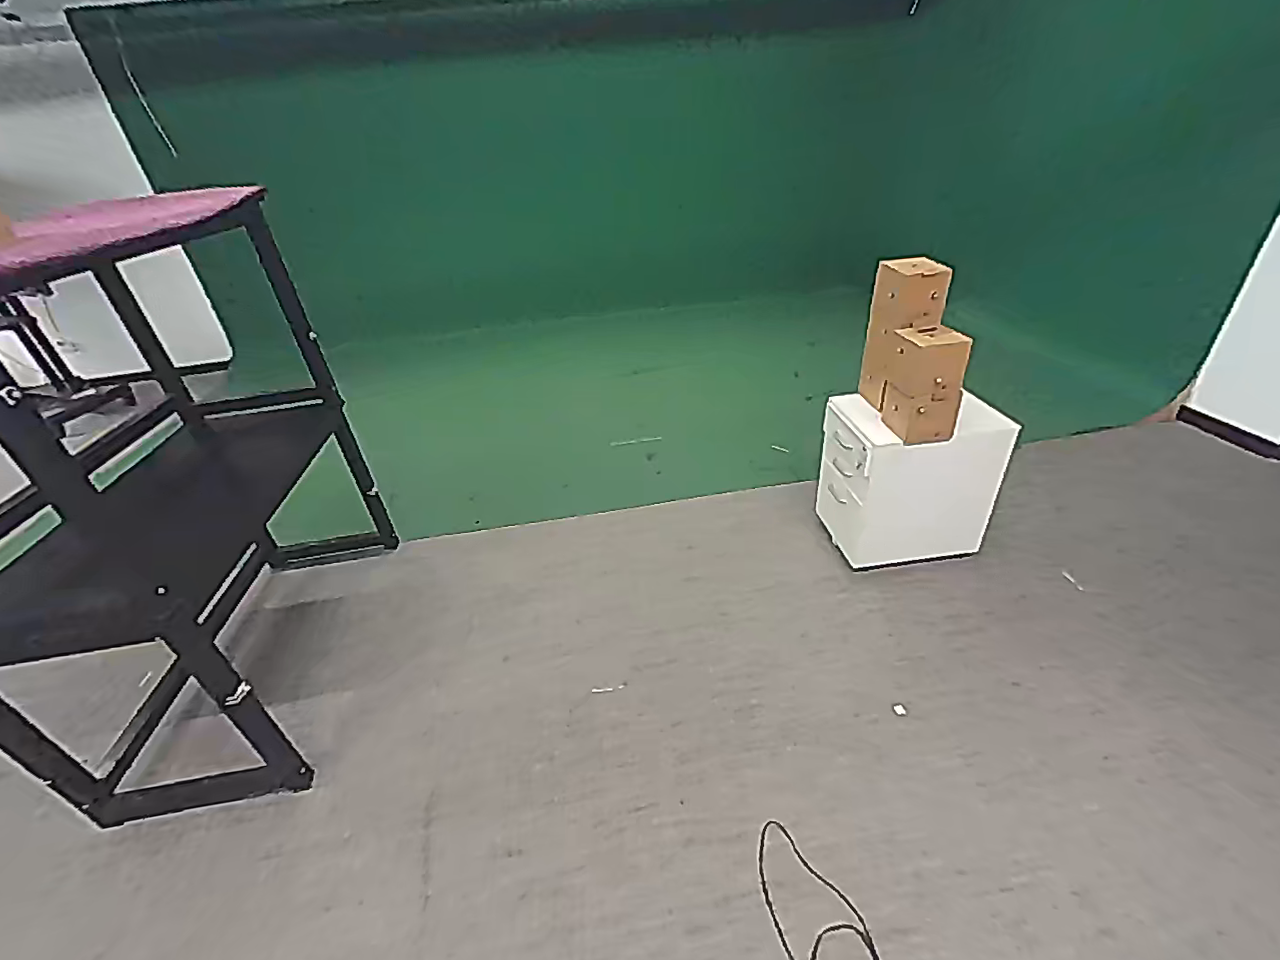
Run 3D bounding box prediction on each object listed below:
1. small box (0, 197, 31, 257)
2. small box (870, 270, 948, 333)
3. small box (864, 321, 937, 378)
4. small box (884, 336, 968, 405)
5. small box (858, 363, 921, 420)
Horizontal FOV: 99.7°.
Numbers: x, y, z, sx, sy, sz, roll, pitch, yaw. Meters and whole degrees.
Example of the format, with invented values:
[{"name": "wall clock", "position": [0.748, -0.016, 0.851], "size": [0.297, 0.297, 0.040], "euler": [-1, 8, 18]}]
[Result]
[{"name": "small box", "position": [-1.231, -0.458, 0.918], "size": [0.179, 0.176, 0.168], "euler": [-9, 31, -5]}, {"name": "small box", "position": [0.917, -0.612, 1.860], "size": [0.168, 0.176, 0.179], "euler": [-6, 34, -4]}, {"name": "small box", "position": [0.930, -0.477, 1.950], "size": [0.168, 0.176, 0.179], "euler": [-6, 34, -2]}, {"name": "small box", "position": [0.920, -0.357, 1.757], "size": [0.168, 0.176, 0.179], "euler": [-7, 31, -3]}, {"name": "small box", "position": [0.945, -0.340, 2.040], "size": [0.168, 0.176, 0.179], "euler": [-8, 34, -4]}]
